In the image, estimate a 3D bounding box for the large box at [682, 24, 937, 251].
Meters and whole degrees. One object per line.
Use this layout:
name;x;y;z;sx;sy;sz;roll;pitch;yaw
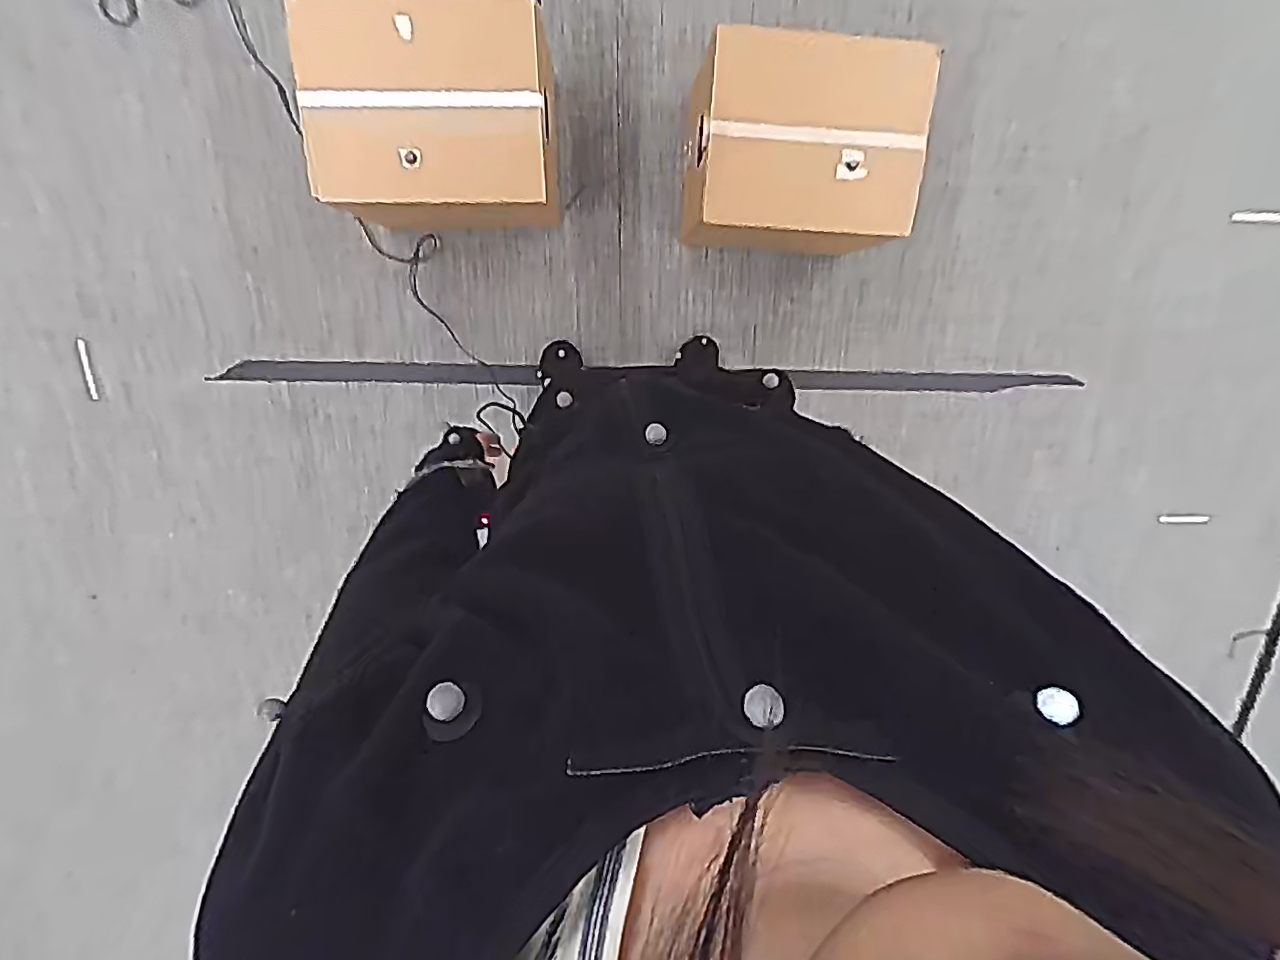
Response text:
large box;0.312;-0.668;1.122;0.408;0.320;0.320;2;107;-5
